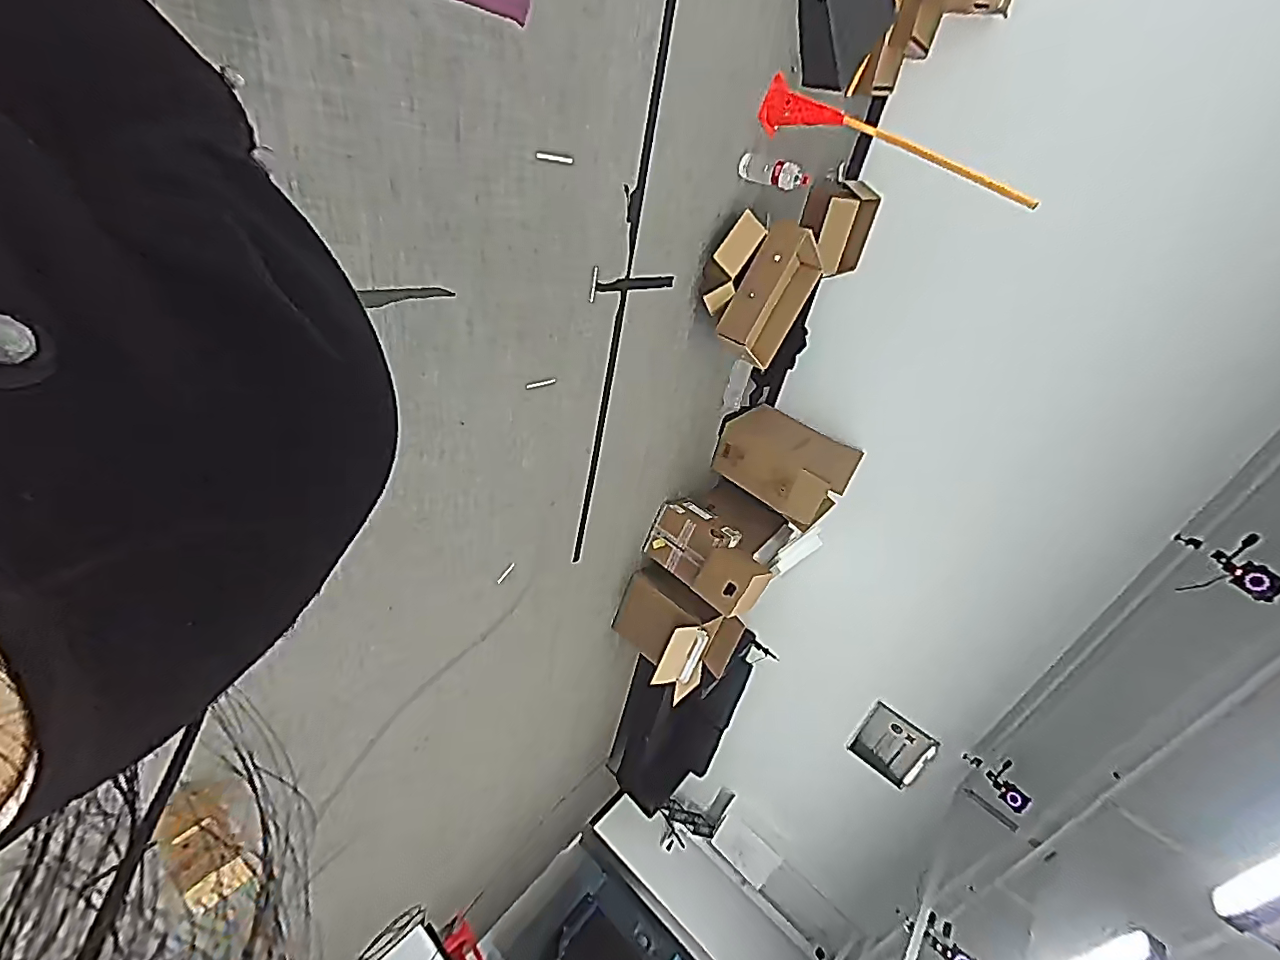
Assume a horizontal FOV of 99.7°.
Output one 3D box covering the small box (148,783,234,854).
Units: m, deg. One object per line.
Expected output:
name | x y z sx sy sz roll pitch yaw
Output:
small box | -1.531 1.178 1.843 0.168 0.176 0.179 -28 141 -43

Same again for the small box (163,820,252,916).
small box | -1.412 1.257 1.766 0.168 0.176 0.179 -27 141 -42
